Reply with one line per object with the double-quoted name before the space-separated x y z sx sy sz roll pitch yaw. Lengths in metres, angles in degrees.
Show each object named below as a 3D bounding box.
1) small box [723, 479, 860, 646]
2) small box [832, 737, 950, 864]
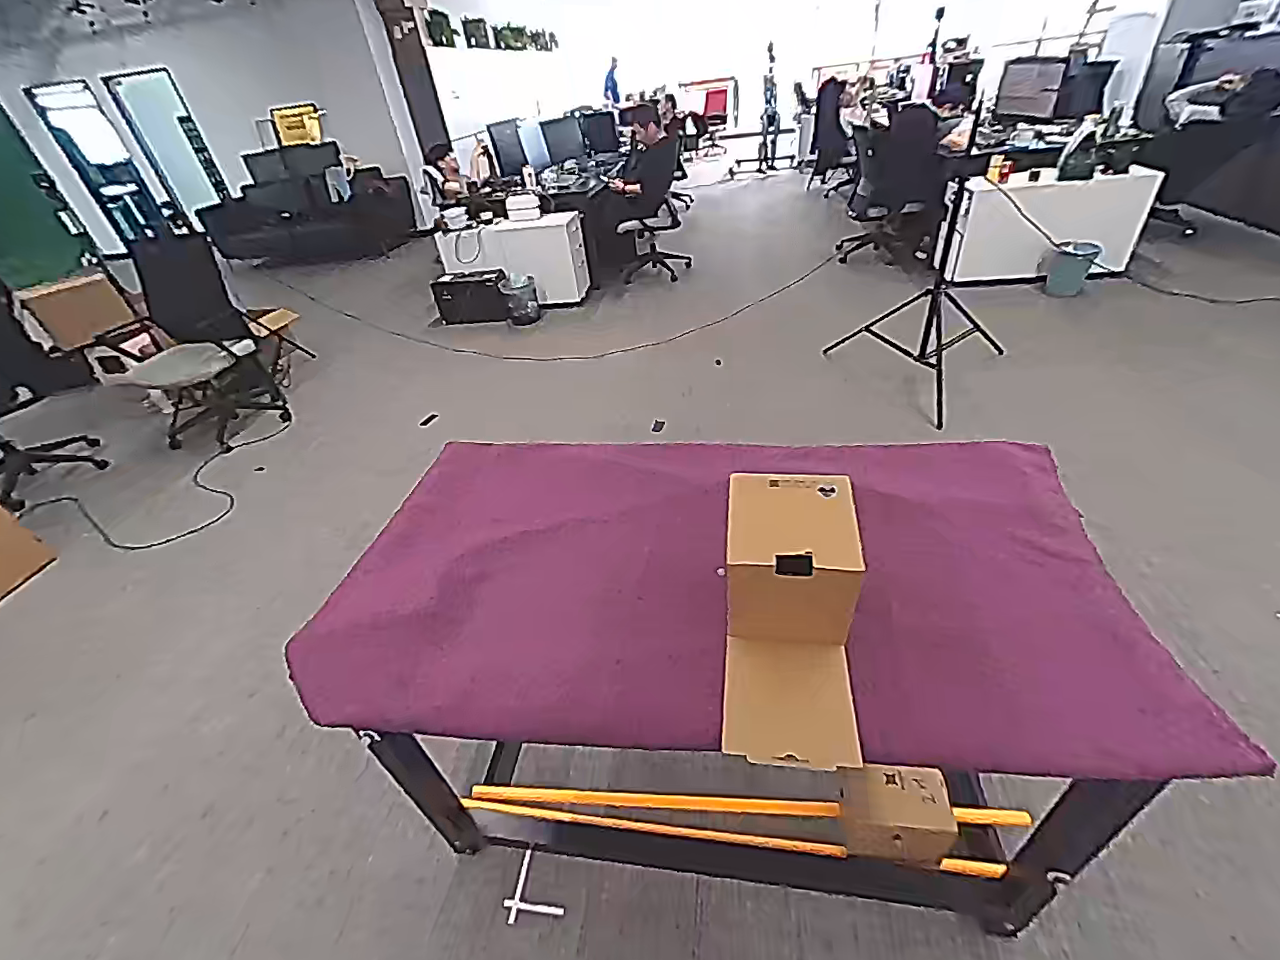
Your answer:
"small box" 0.203 0.113 0.773 0.168 0.179 0.176 1 45 11
"small box" 0.486 0.639 1.079 0.179 0.176 0.168 -1 38 10
